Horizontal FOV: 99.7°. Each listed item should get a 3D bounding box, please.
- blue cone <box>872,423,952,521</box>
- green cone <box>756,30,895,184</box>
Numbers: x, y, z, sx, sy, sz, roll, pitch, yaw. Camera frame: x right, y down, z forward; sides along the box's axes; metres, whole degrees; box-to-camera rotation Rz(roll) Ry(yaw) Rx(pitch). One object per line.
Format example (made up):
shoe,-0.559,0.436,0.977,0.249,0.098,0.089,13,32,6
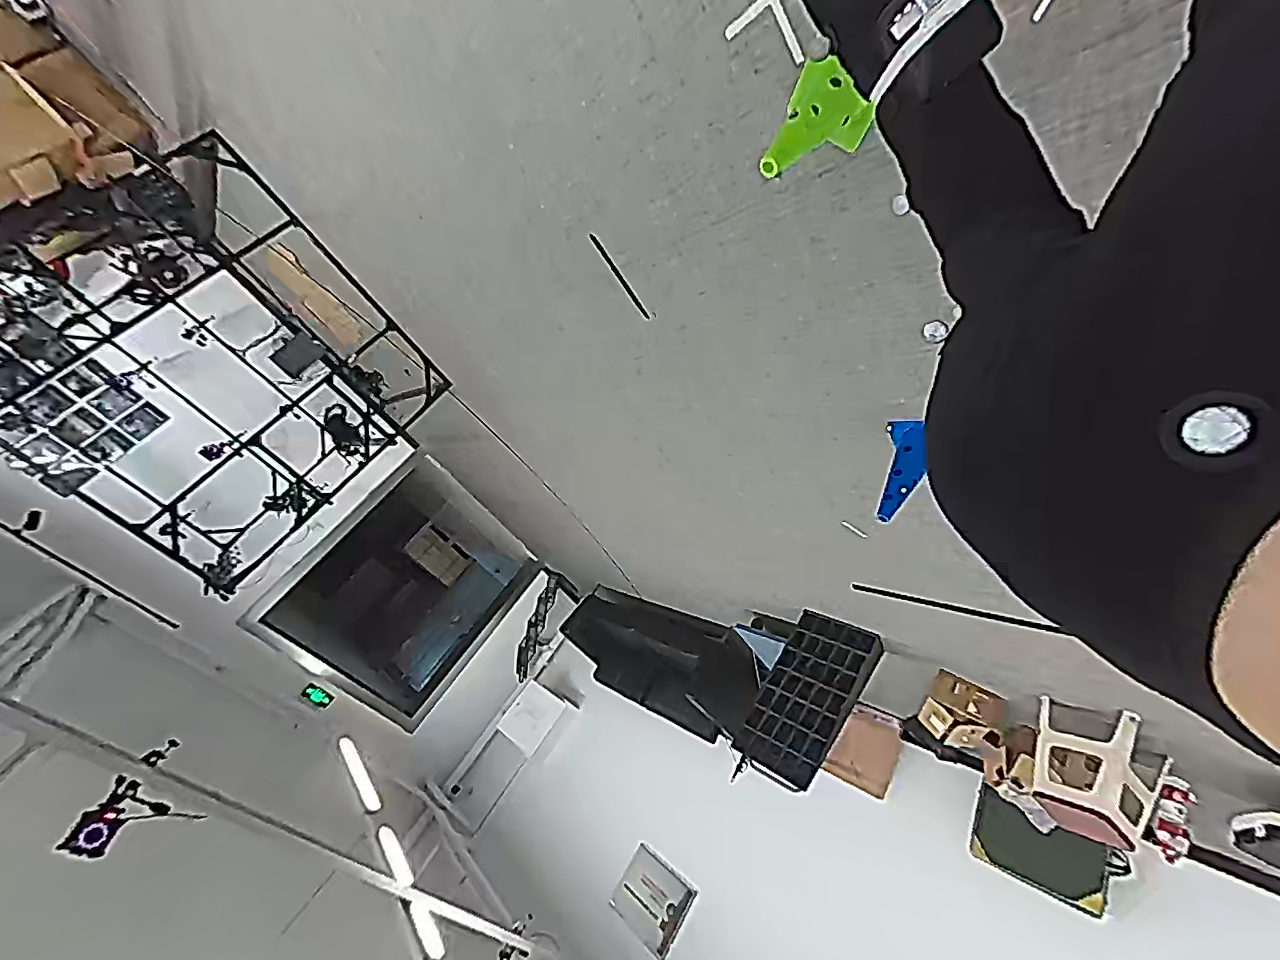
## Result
blue cone,0.891,-0.012,1.835,0.192,0.380,0.193,9,143,50
green cone,0.357,-0.763,1.178,0.200,0.368,0.202,36,158,6
